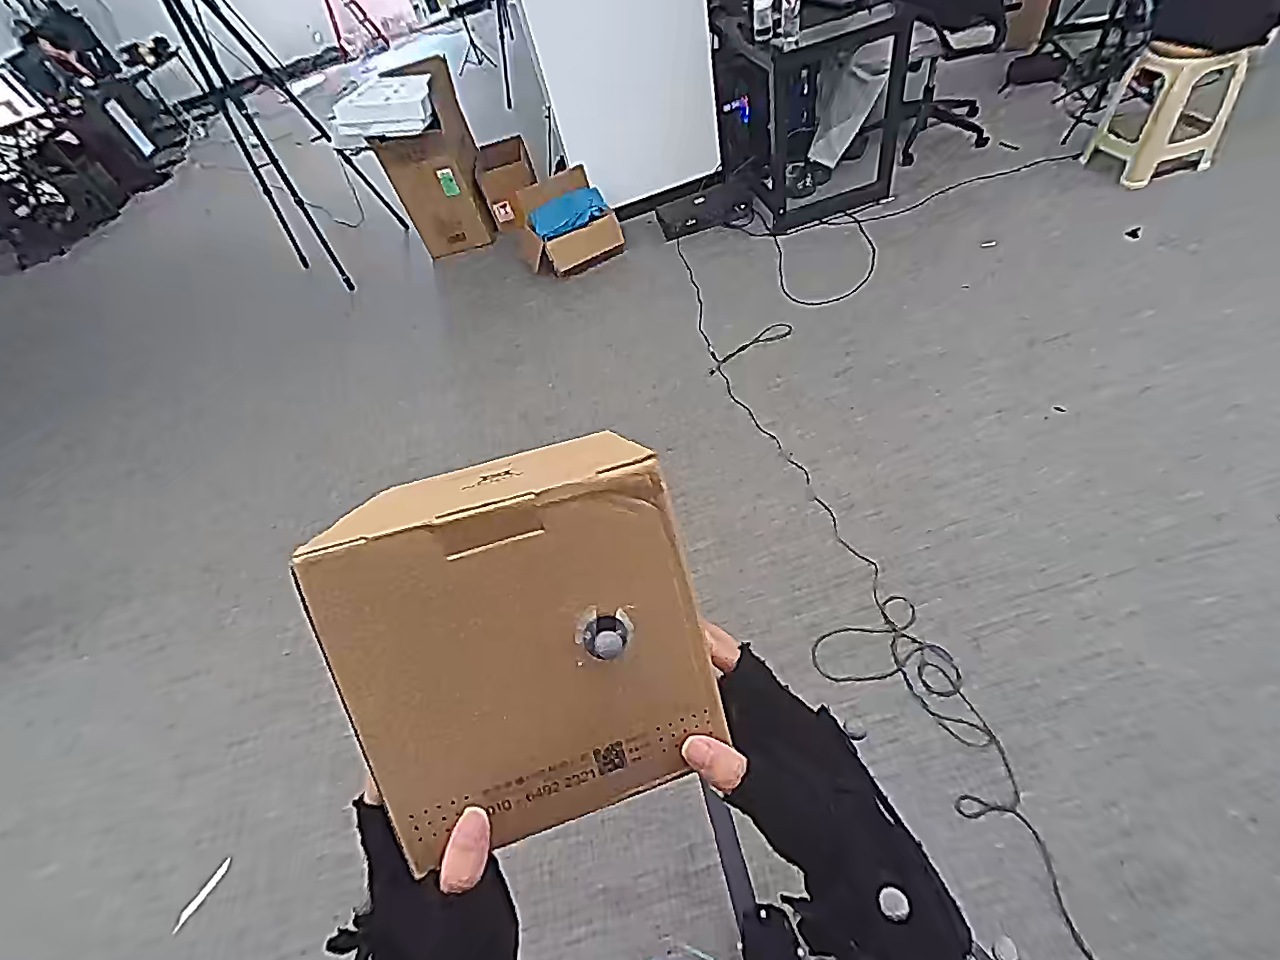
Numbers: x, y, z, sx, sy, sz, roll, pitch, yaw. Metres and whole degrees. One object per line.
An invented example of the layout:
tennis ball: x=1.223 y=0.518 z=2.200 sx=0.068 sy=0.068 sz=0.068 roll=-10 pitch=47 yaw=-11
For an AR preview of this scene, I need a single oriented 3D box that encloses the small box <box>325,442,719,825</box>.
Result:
small box: x=-0.061 y=0.084 z=0.353 sx=0.168 sy=0.176 sz=0.179 roll=-16 pitch=10 yaw=-7
